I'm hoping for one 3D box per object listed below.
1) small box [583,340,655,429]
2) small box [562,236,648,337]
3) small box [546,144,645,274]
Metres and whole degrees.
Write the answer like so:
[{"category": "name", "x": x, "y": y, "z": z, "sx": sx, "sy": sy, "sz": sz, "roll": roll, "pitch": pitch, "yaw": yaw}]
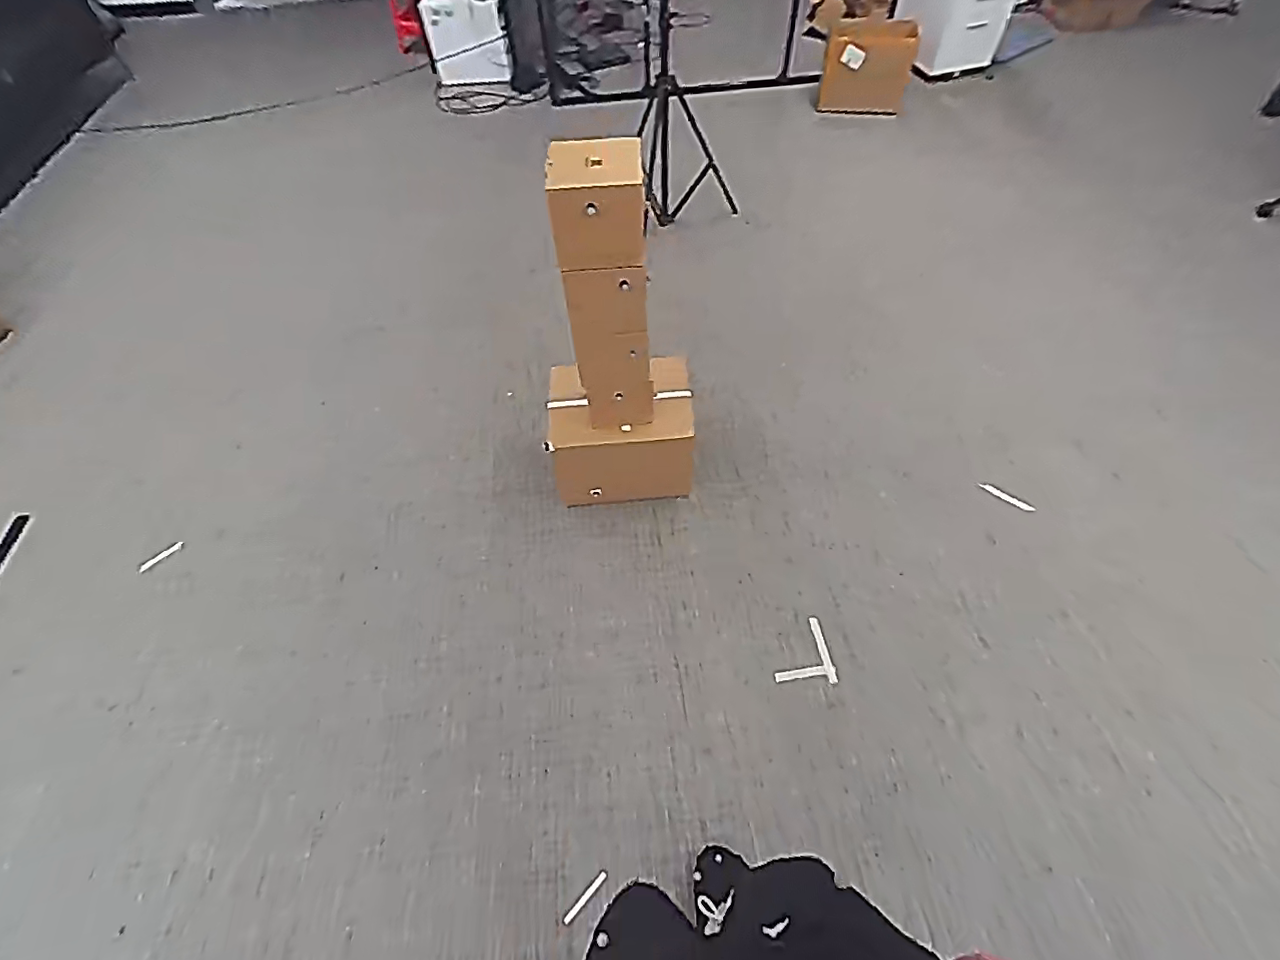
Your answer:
[{"category": "small box", "x": -0.055, "y": -0.254, "z": 1.467, "sx": 0.179, "sy": 0.176, "sz": 0.168, "roll": -6, "pitch": 57, "yaw": -2}, {"category": "small box", "x": -0.072, "y": -0.436, "z": 1.194, "sx": 0.179, "sy": 0.176, "sz": 0.168, "roll": -4, "pitch": 56, "yaw": 1}, {"category": "small box", "x": -0.079, "y": -0.526, "z": 1.059, "sx": 0.179, "sy": 0.176, "sz": 0.168, "roll": -3, "pitch": 57, "yaw": 1}]
